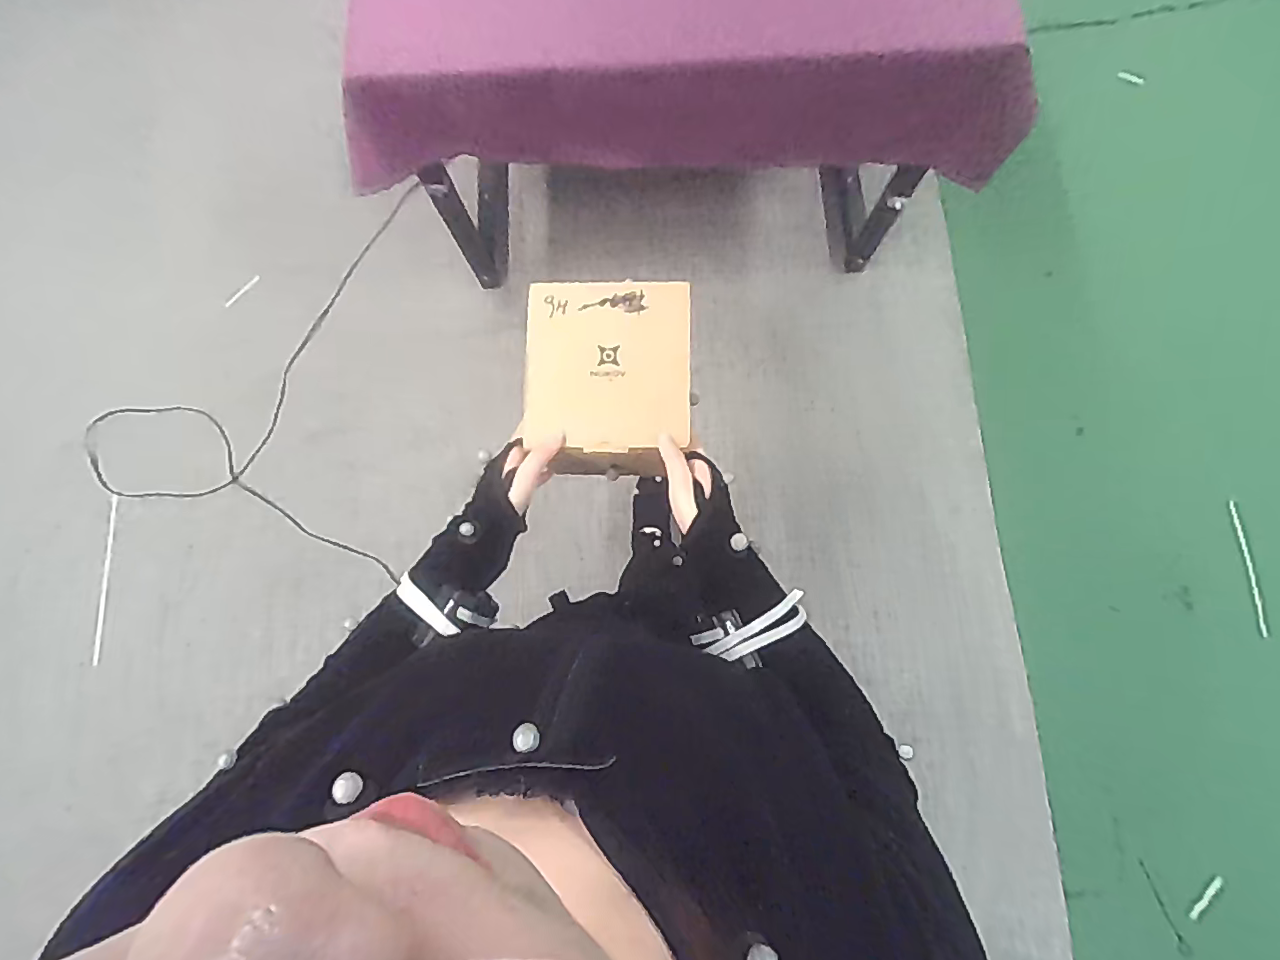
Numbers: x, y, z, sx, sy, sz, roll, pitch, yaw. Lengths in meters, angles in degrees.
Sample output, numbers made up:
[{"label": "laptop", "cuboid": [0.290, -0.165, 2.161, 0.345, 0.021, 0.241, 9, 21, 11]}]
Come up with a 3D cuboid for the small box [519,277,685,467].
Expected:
[{"label": "small box", "cuboid": [-0.032, -0.109, 0.617, 0.168, 0.176, 0.179, 0, 83, 3]}]
